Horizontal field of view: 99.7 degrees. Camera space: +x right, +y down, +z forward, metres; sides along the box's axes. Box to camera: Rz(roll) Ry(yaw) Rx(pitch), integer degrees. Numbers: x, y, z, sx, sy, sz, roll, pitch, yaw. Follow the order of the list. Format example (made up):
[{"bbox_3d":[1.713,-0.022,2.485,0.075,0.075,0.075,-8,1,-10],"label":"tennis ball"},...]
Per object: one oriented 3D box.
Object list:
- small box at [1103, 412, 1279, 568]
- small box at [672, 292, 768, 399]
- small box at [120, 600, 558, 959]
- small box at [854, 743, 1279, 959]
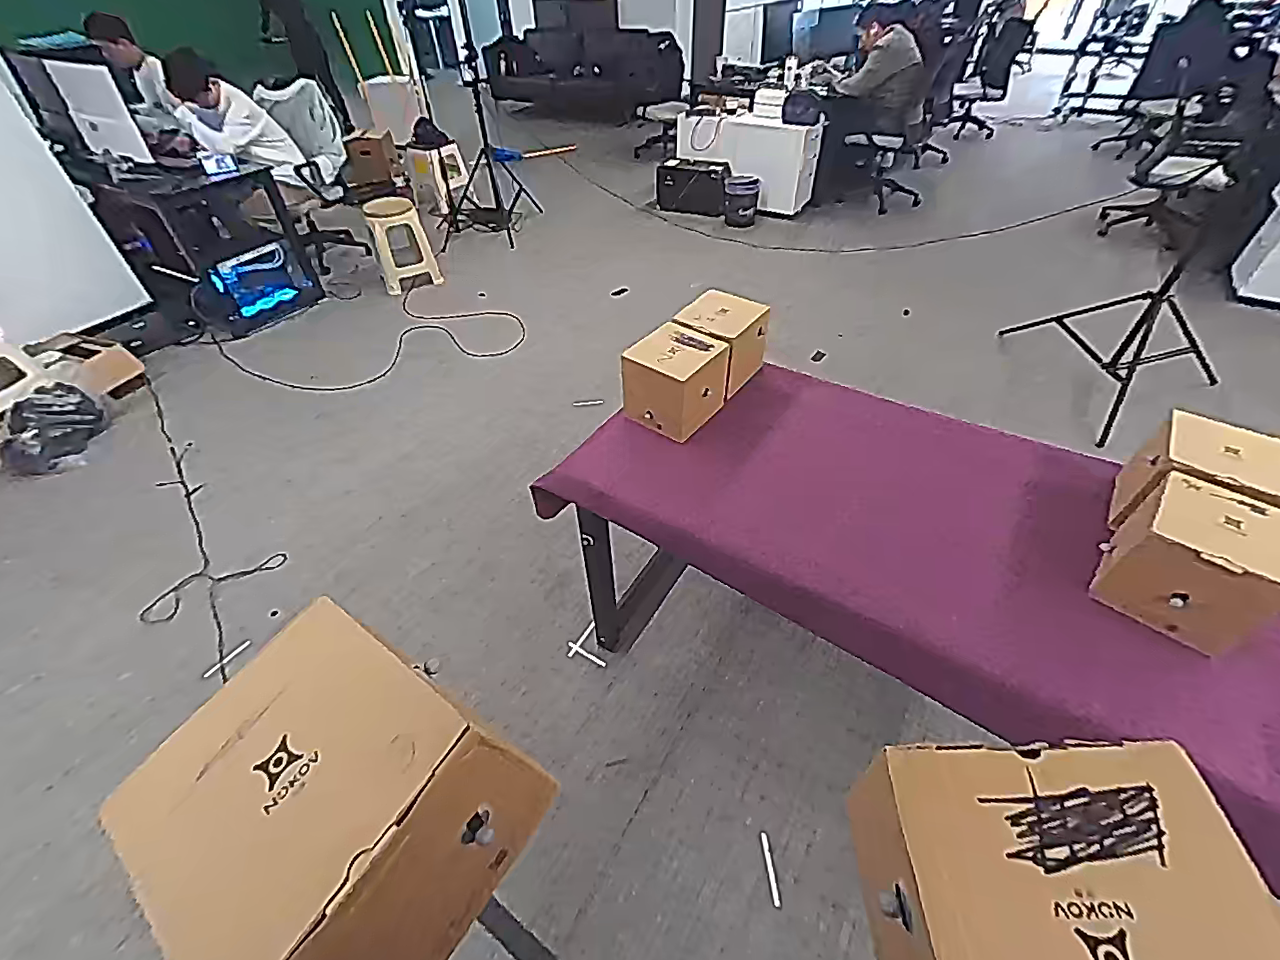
[{"bbox_3d":[0.955,0.017,0.943,0.168,0.176,0.179,27,51,26],"label":"small box"},{"bbox_3d":[0.186,-0.327,1.311,0.168,0.176,0.179,27,52,26],"label":"small box"},{"bbox_3d":[-0.186,0.222,0.380,0.179,0.176,0.168,22,58,30],"label":"small box"},{"bbox_3d":[0.242,0.277,0.329,0.168,0.176,0.179,-4,50,7],"label":"small box"}]
